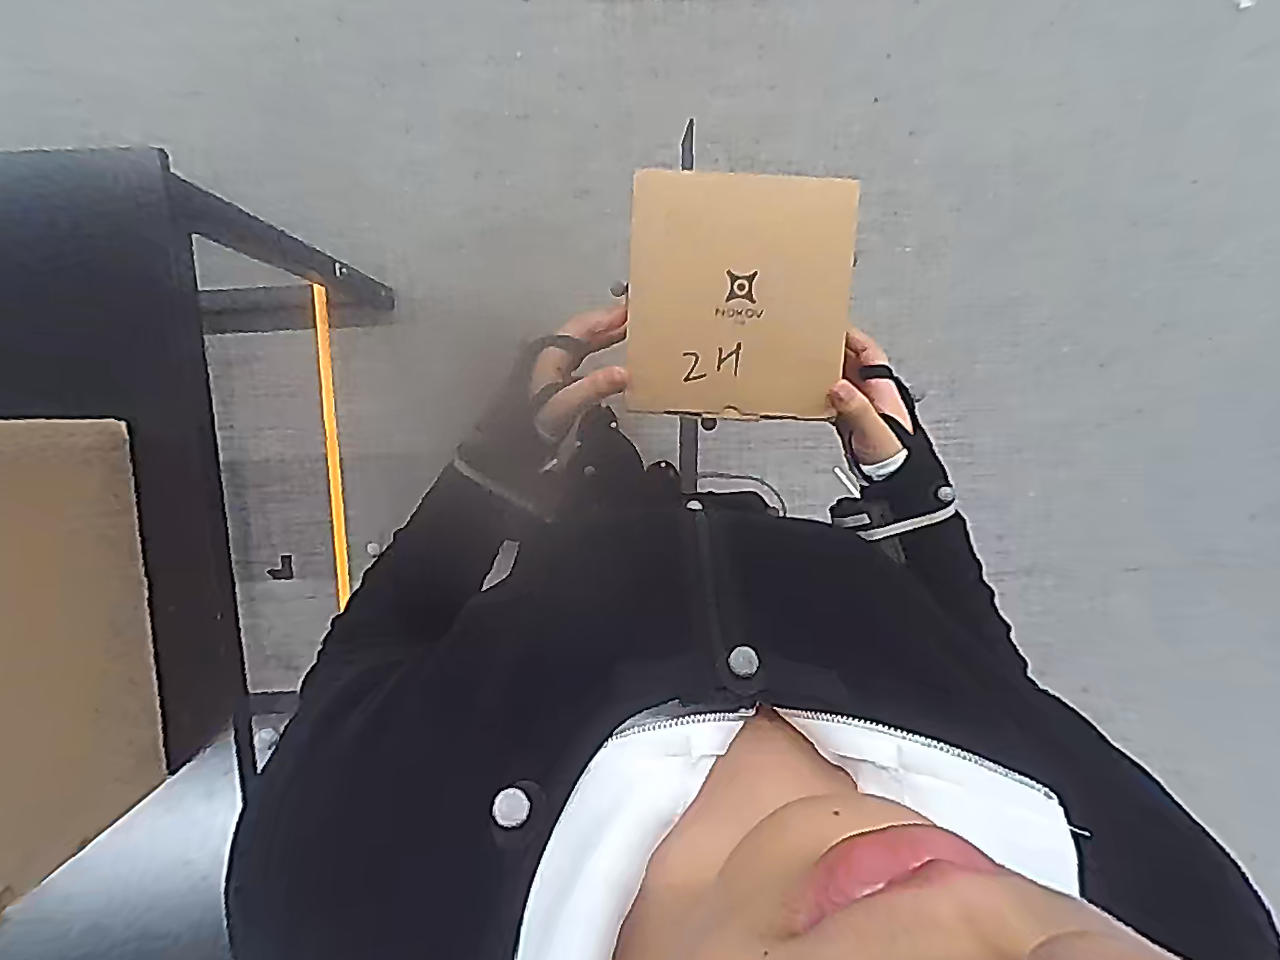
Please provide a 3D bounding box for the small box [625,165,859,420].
[{"bbox_3d":[0.072,-0.145,0.475,0.168,0.176,0.179,2,99,0],"label":"small box"}]
